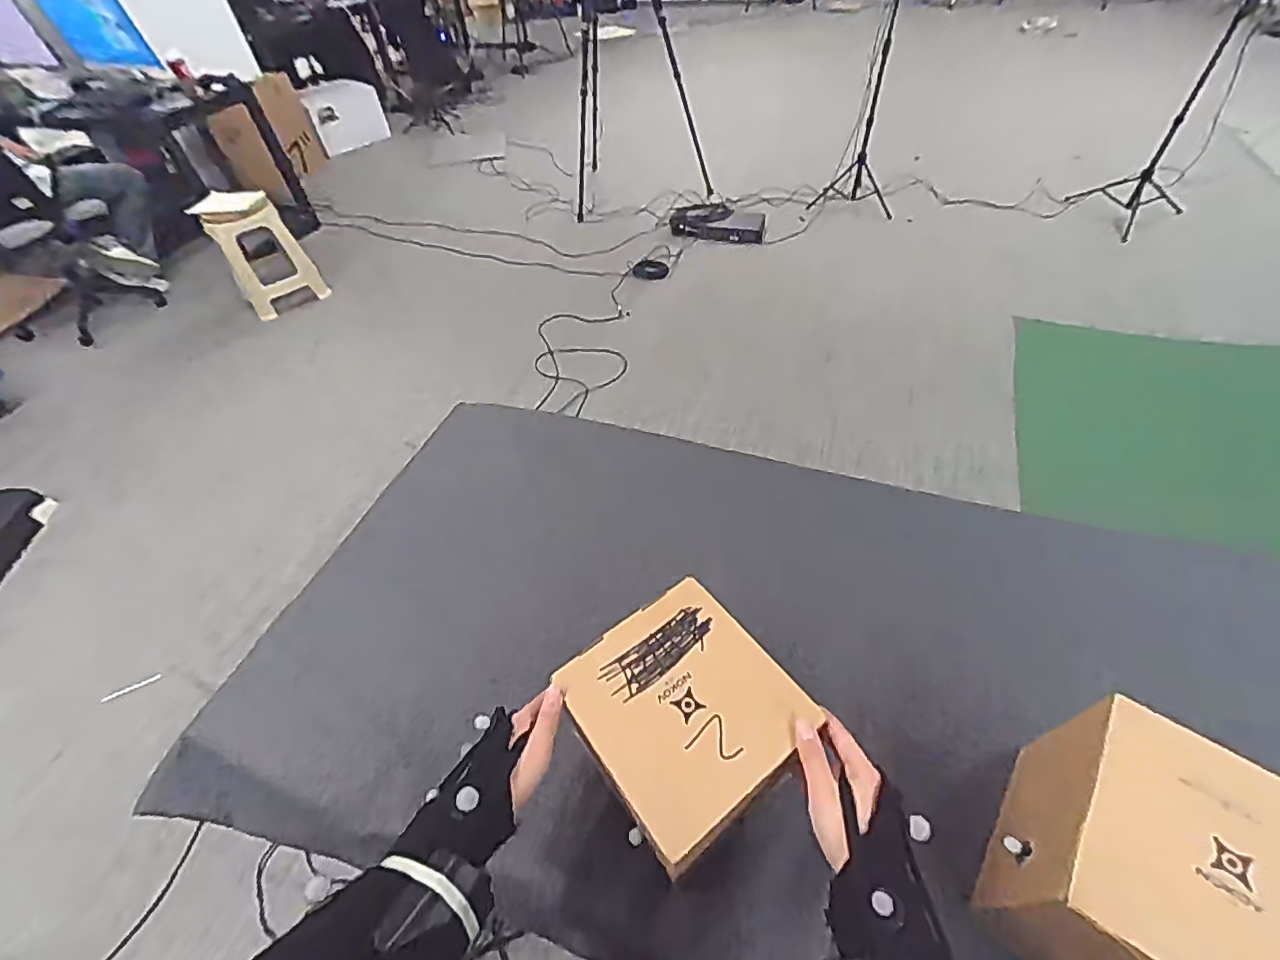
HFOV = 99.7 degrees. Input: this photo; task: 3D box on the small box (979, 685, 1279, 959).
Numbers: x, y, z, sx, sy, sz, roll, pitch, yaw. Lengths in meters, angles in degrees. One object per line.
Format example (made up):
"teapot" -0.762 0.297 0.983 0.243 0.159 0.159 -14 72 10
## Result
"small box" 0.397 0.305 0.419 0.168 0.176 0.179 29 56 26
